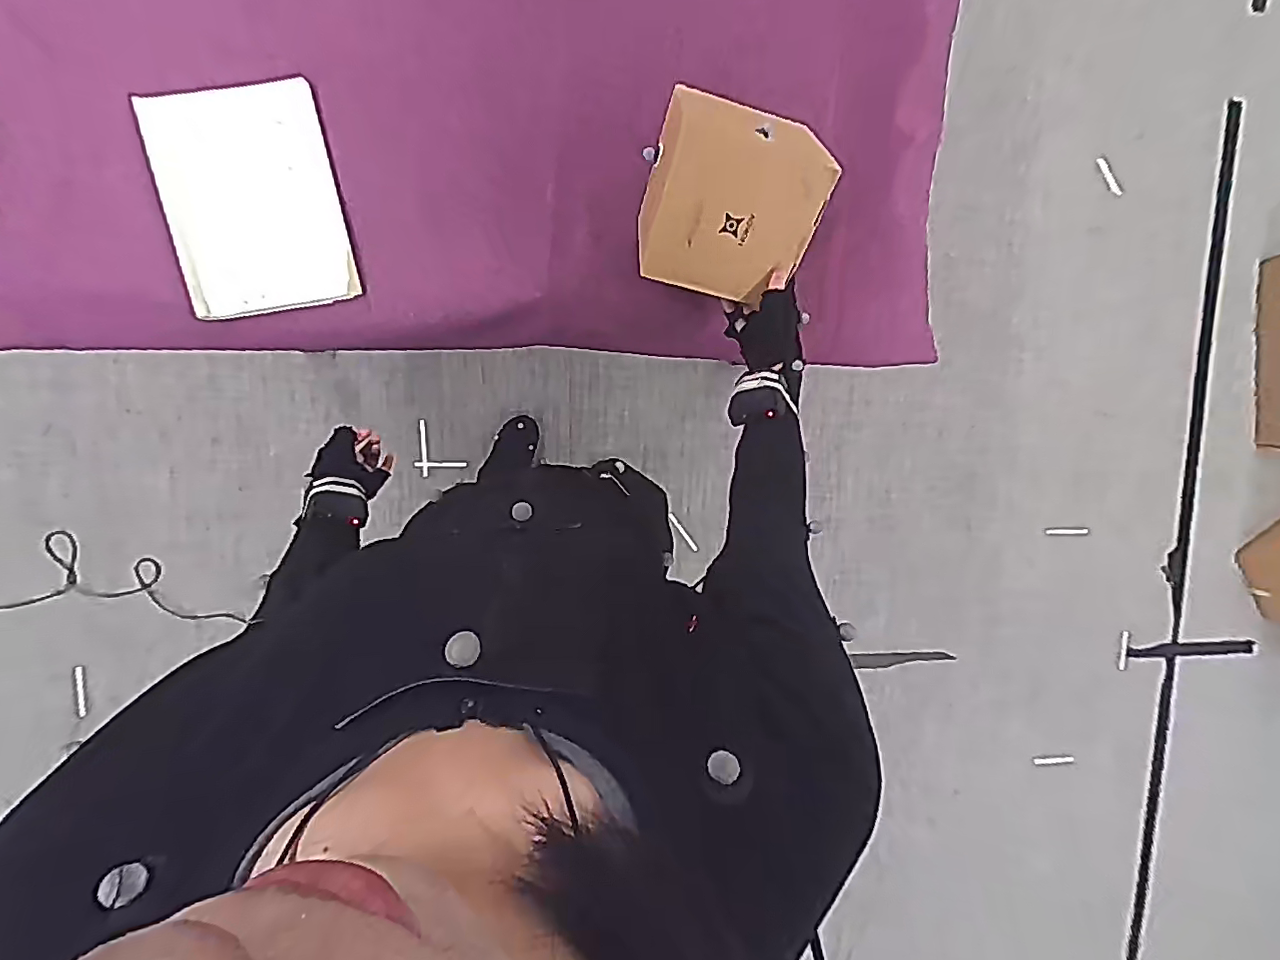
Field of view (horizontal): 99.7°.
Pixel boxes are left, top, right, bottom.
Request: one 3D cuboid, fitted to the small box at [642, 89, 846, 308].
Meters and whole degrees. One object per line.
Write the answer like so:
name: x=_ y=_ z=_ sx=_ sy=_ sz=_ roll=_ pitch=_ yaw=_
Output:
small box: x=0.107 y=-0.336 z=0.644 sx=0.179 sy=0.176 sz=0.168 roll=10 pitch=133 yaw=-11
